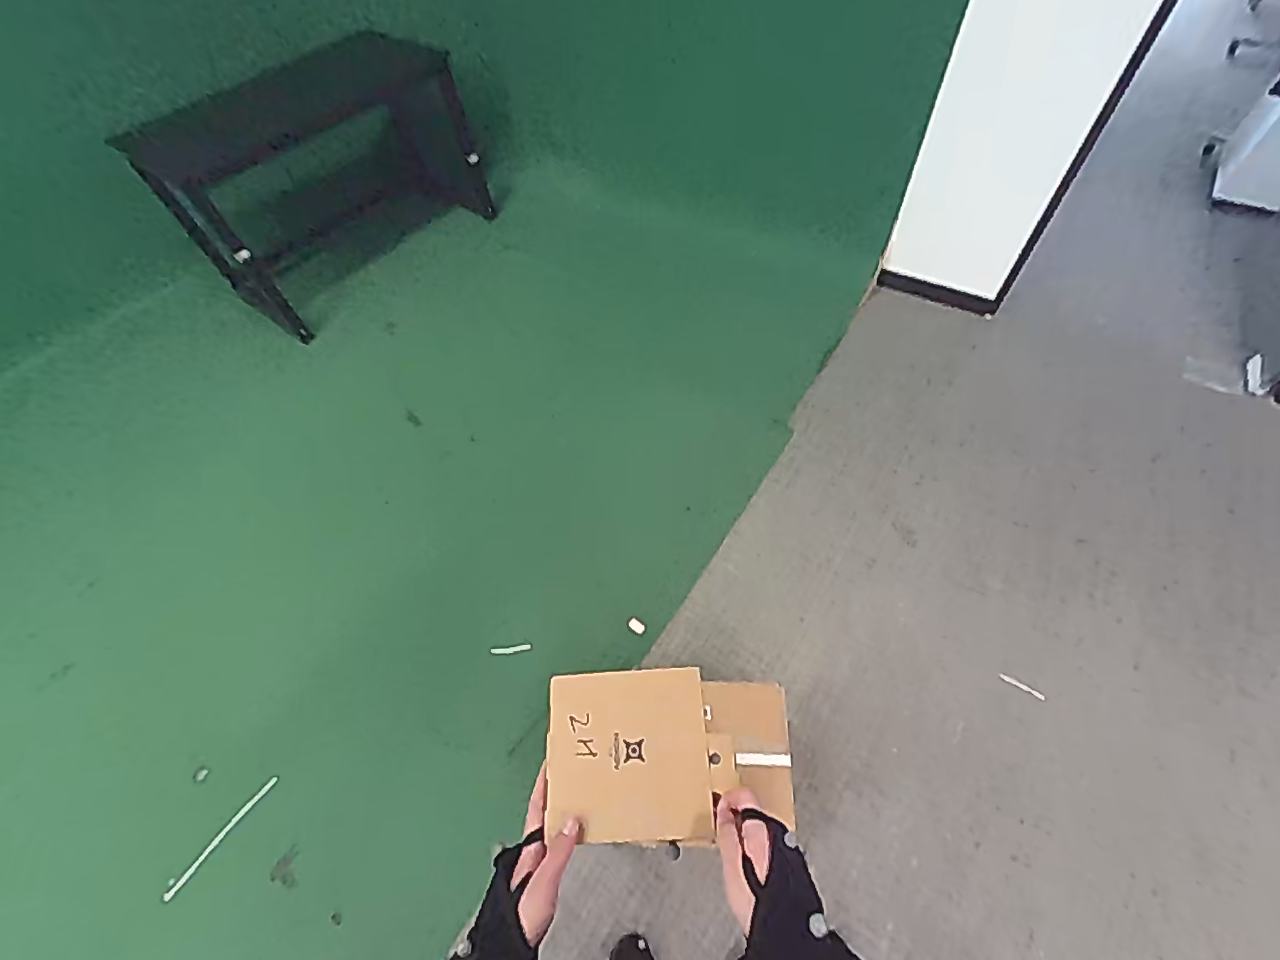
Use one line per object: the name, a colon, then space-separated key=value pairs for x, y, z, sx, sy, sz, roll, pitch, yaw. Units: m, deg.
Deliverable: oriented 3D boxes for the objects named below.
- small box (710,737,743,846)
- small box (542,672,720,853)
small box: x=0.093 y=0.577 z=1.010 sx=0.179 sy=0.176 sz=0.168 roll=-1 pitch=57 yaw=6
small box: x=-0.006 y=0.330 z=0.633 sx=0.179 sy=0.176 sz=0.168 roll=-5 pitch=58 yaw=4
